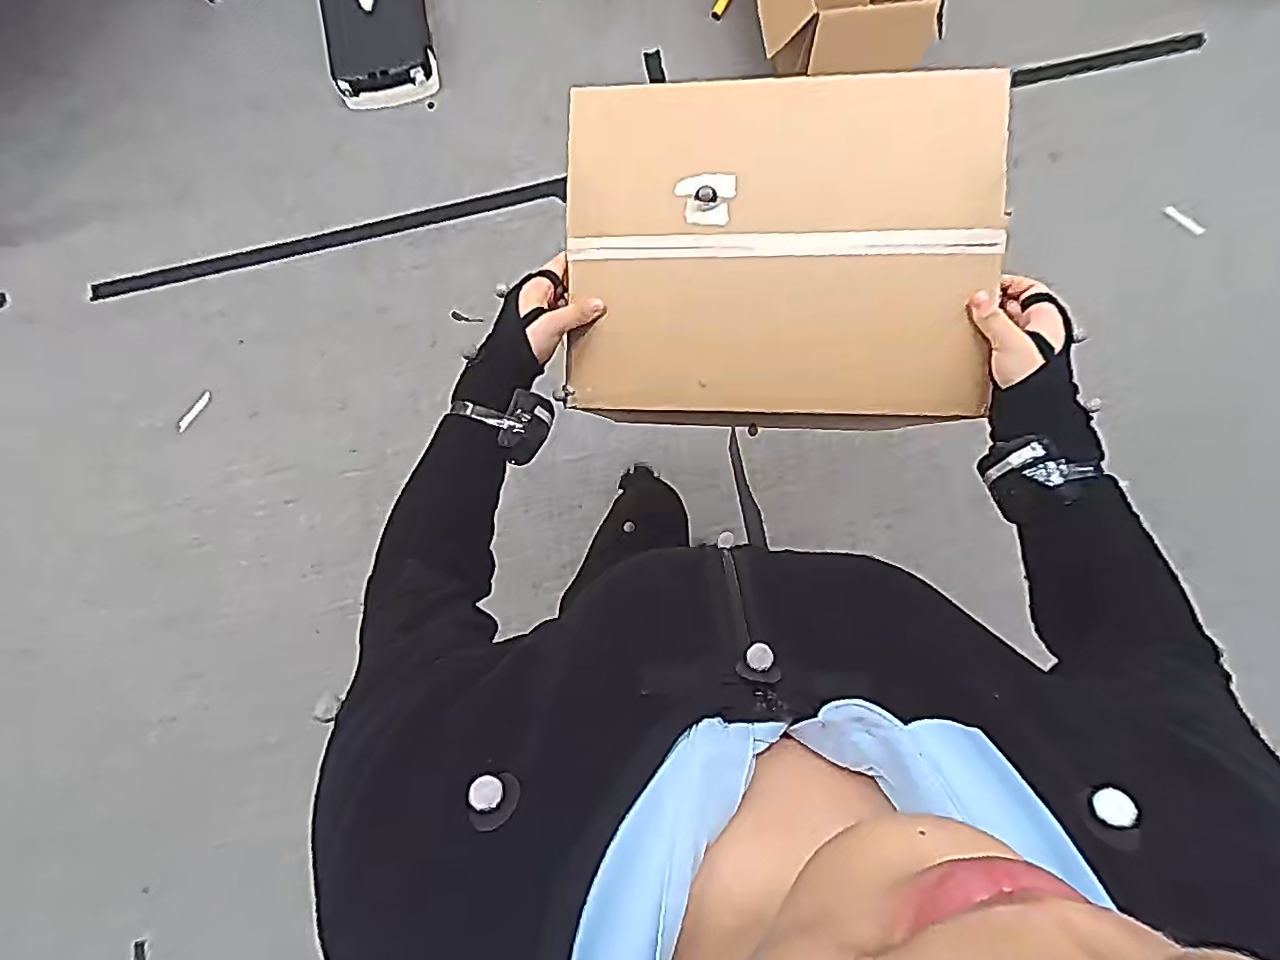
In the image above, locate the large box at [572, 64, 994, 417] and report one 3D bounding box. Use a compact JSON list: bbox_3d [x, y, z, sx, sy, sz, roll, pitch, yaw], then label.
[{"bbox_3d":[0.149,-0.240,0.675,0.408,0.320,0.320,2,92,8],"label":"large box"}]
